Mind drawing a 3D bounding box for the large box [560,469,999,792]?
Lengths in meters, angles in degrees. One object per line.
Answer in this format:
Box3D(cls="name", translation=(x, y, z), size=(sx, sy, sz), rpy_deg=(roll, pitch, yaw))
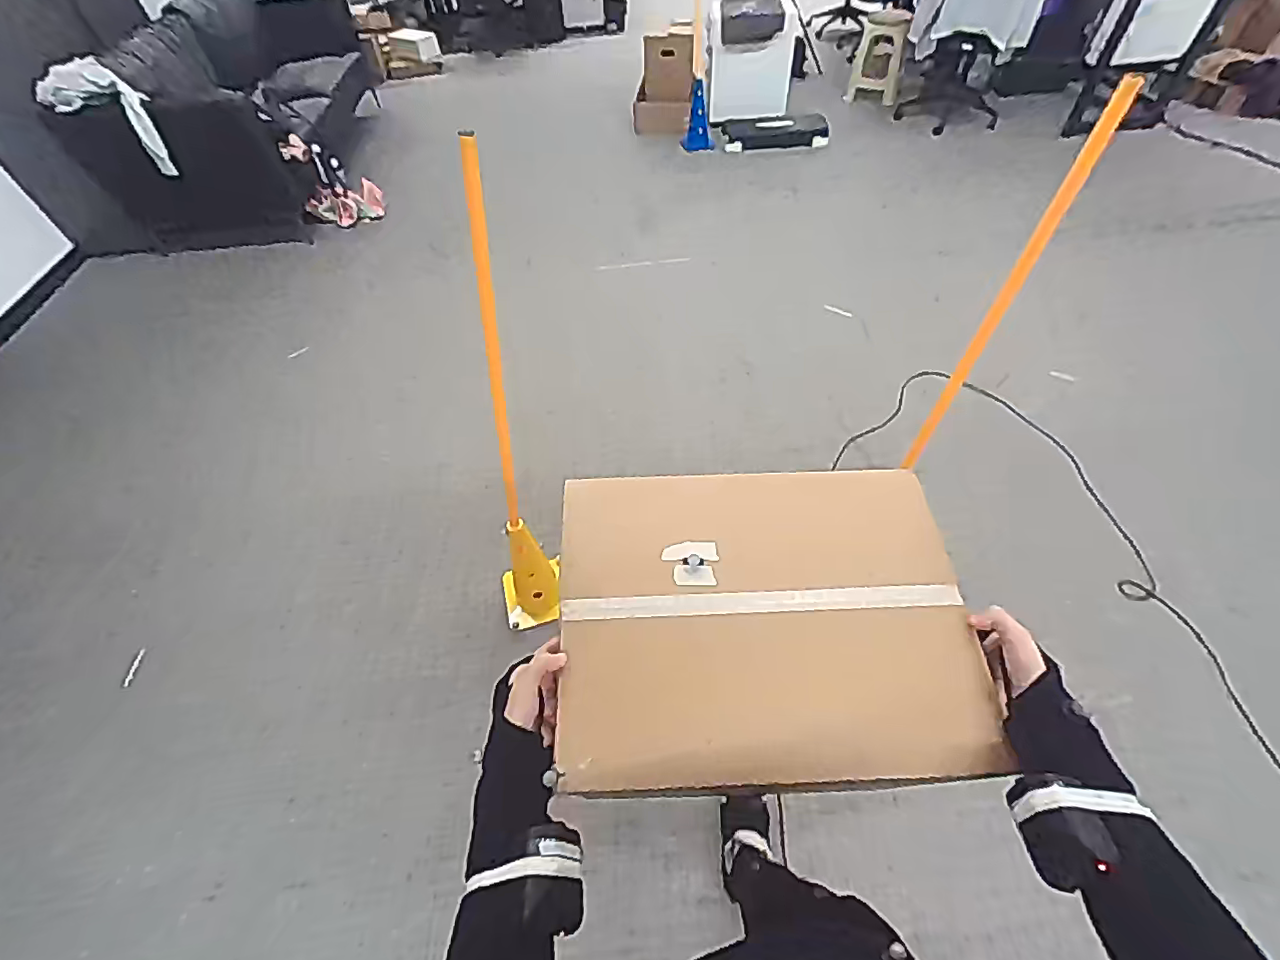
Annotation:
Box3D(cls="large box", translation=(0.122, 0.205, 0.684), size=(0.408, 0.320, 0.320), rpy_deg=(-3, 58, -1))
